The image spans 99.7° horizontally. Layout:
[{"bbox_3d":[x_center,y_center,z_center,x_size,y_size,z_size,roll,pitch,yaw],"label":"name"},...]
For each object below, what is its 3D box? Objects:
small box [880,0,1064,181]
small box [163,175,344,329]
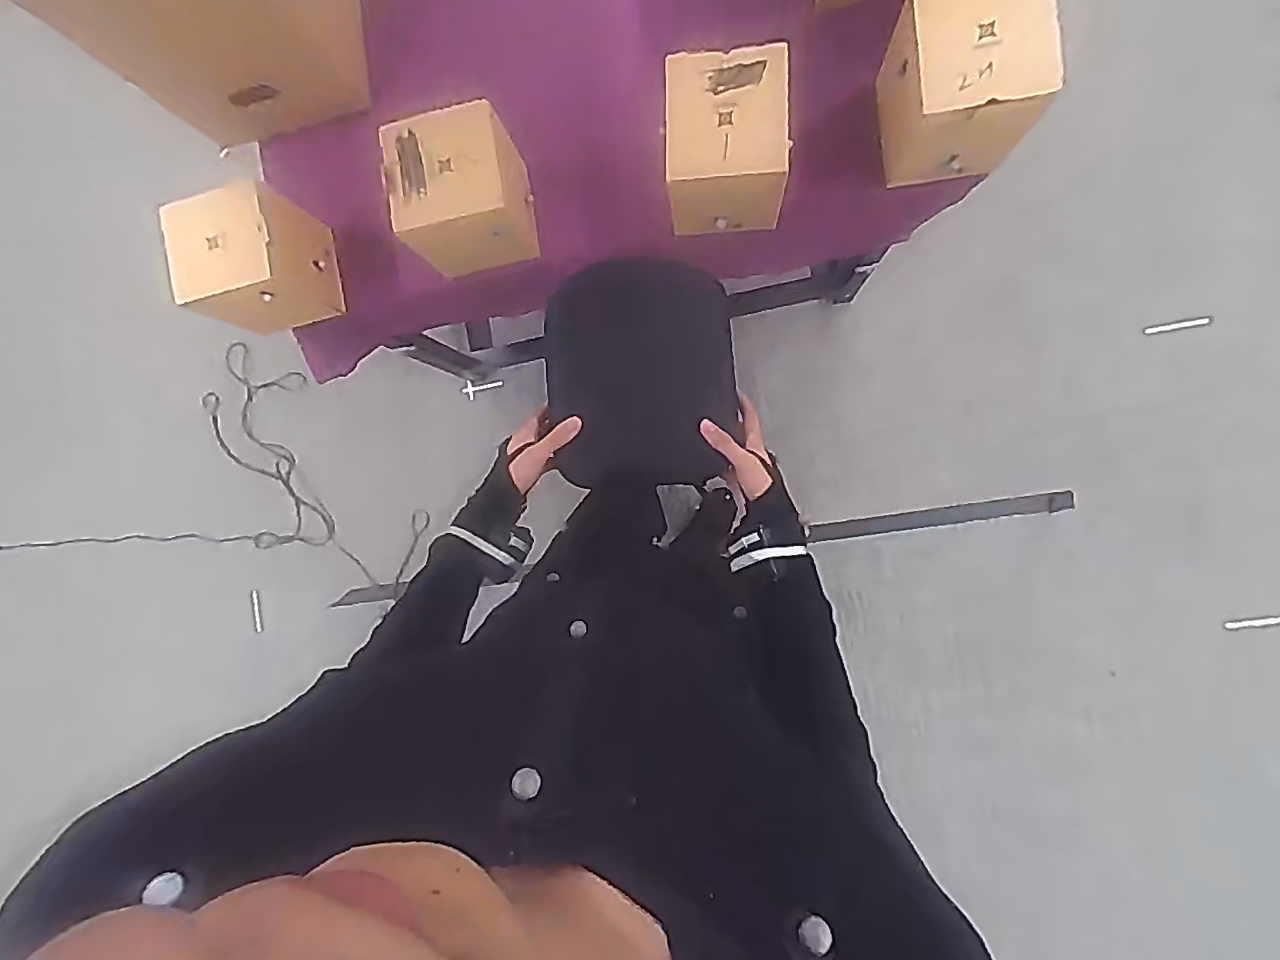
[{"bbox_3d":[0.447,-0.559,0.757,0.168,0.176,0.179,-4,88,9],"label":"small box"},{"bbox_3d":[-0.645,-0.372,0.918,0.179,0.176,0.168,-12,88,7],"label":"small box"}]
